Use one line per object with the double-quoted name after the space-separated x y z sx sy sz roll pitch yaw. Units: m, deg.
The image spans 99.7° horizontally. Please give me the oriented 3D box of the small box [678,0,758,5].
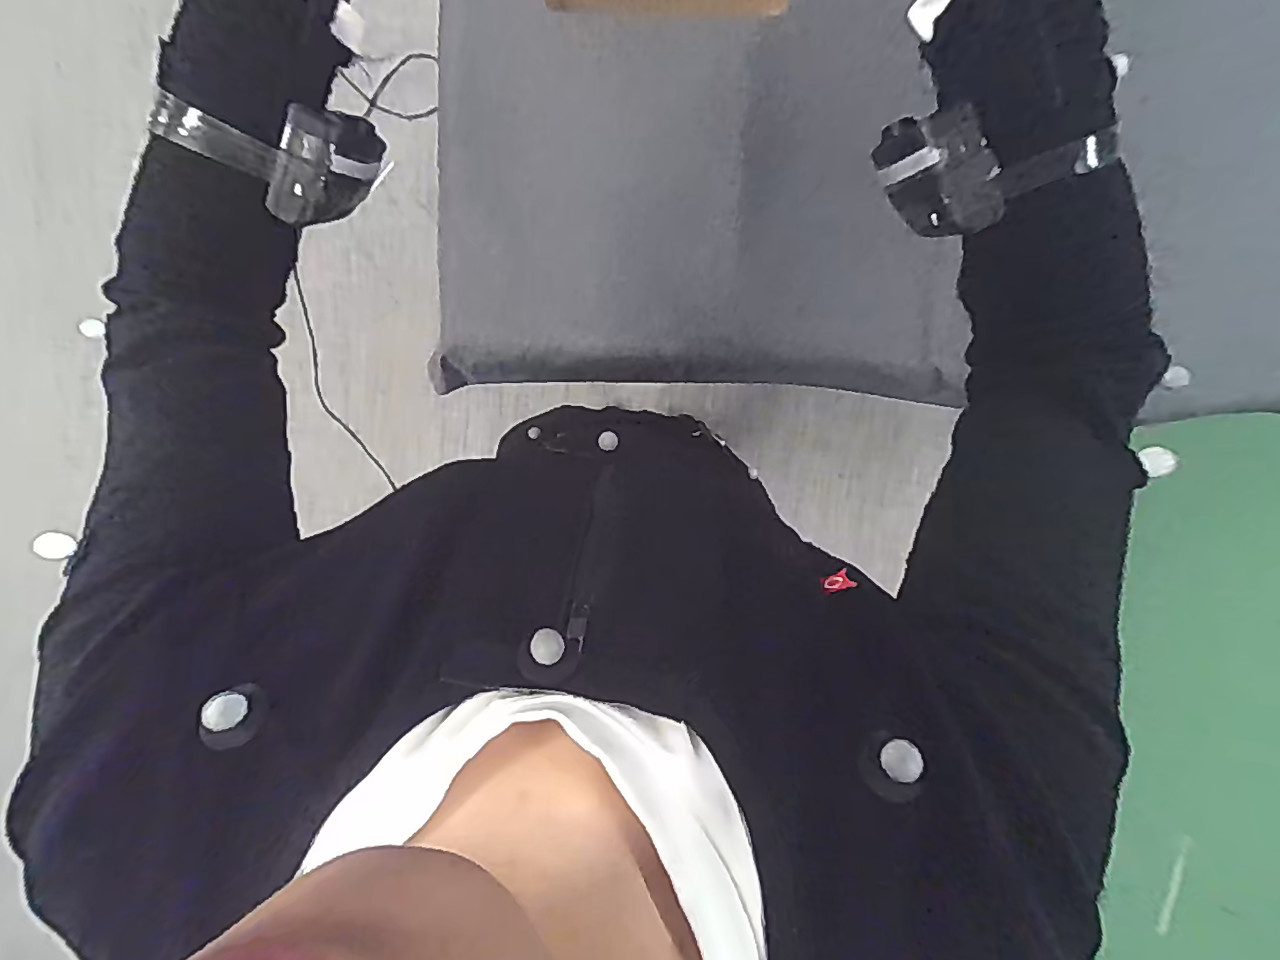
0.021 -0.417 0.303 0.179 0.176 0.168 3 94 2 "small box"
